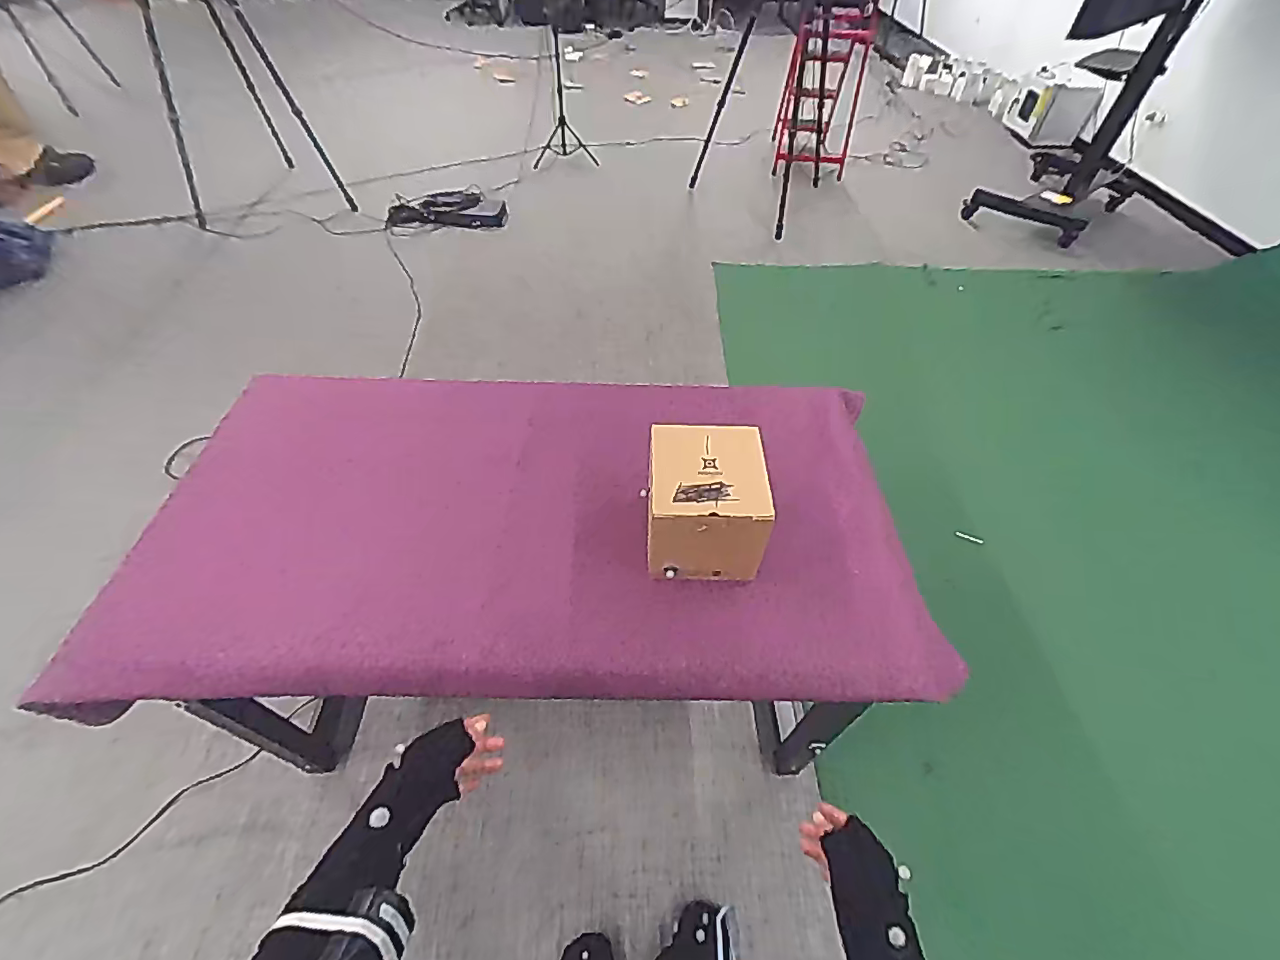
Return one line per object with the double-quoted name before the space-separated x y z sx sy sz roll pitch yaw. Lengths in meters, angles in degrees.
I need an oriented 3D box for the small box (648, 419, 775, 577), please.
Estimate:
"small box" 0.101 0.032 0.823 0.168 0.176 0.179 5 51 0
